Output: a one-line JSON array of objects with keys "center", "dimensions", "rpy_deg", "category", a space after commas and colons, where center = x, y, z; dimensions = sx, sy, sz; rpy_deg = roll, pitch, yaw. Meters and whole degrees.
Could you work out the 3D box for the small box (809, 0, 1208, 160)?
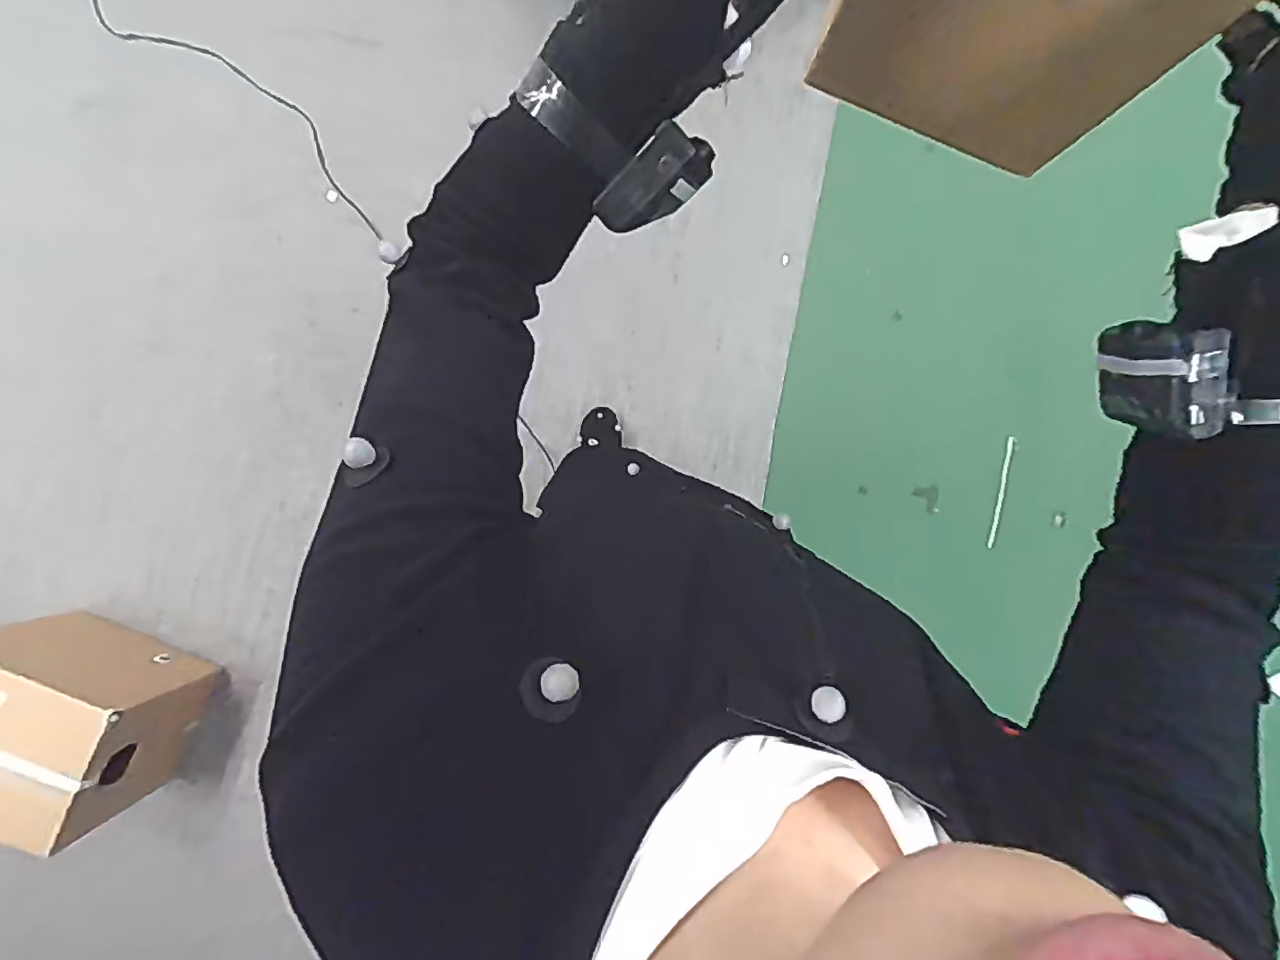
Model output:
[{"center": [0.223, -0.327, 0.307], "dimensions": [0.179, 0.176, 0.168], "rpy_deg": [20, 85, -4], "category": "small box"}]
